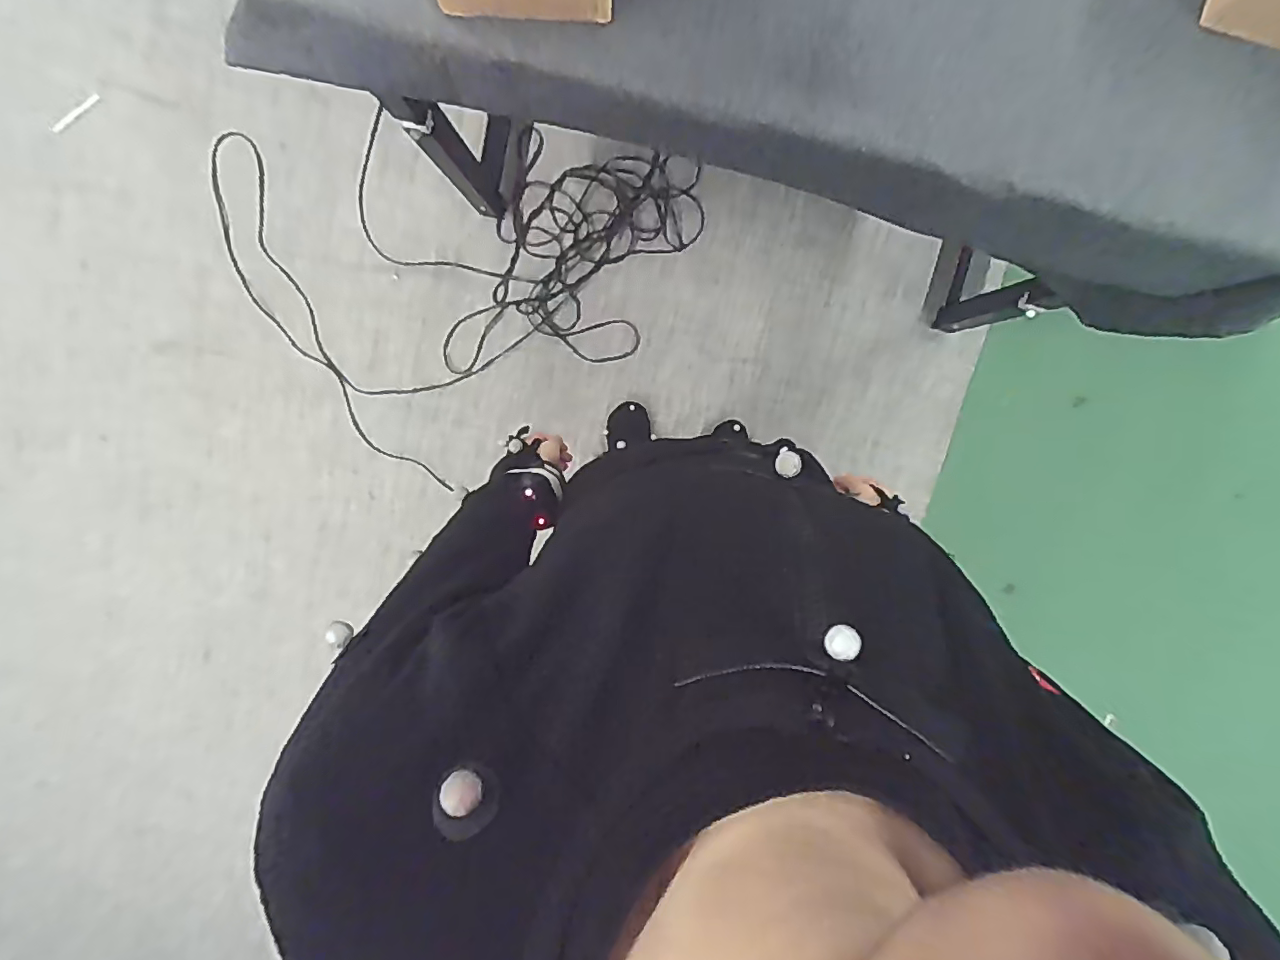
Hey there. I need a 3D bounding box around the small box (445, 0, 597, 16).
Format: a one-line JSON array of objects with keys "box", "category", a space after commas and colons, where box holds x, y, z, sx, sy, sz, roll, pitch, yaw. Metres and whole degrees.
[{"box": [-0.112, -0.551, 0.469, 0.179, 0.176, 0.168, 3, 97, 0], "category": "small box"}]
